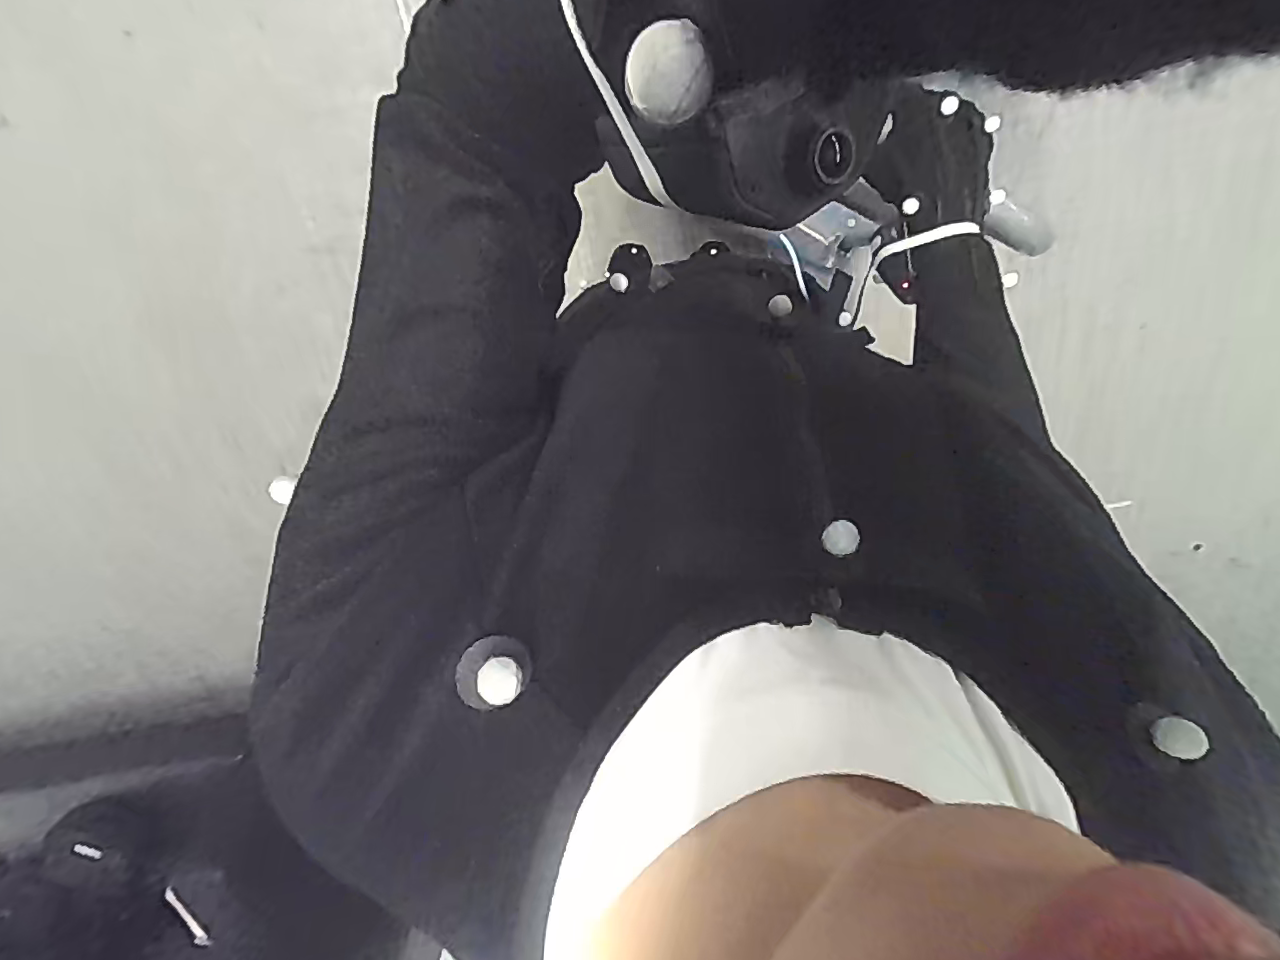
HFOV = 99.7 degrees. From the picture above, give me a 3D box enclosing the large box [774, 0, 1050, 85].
[{"bbox_3d":[0.429,-0.882,0.807,0.408,0.320,0.320,23,111,-8],"label":"large box"}]
